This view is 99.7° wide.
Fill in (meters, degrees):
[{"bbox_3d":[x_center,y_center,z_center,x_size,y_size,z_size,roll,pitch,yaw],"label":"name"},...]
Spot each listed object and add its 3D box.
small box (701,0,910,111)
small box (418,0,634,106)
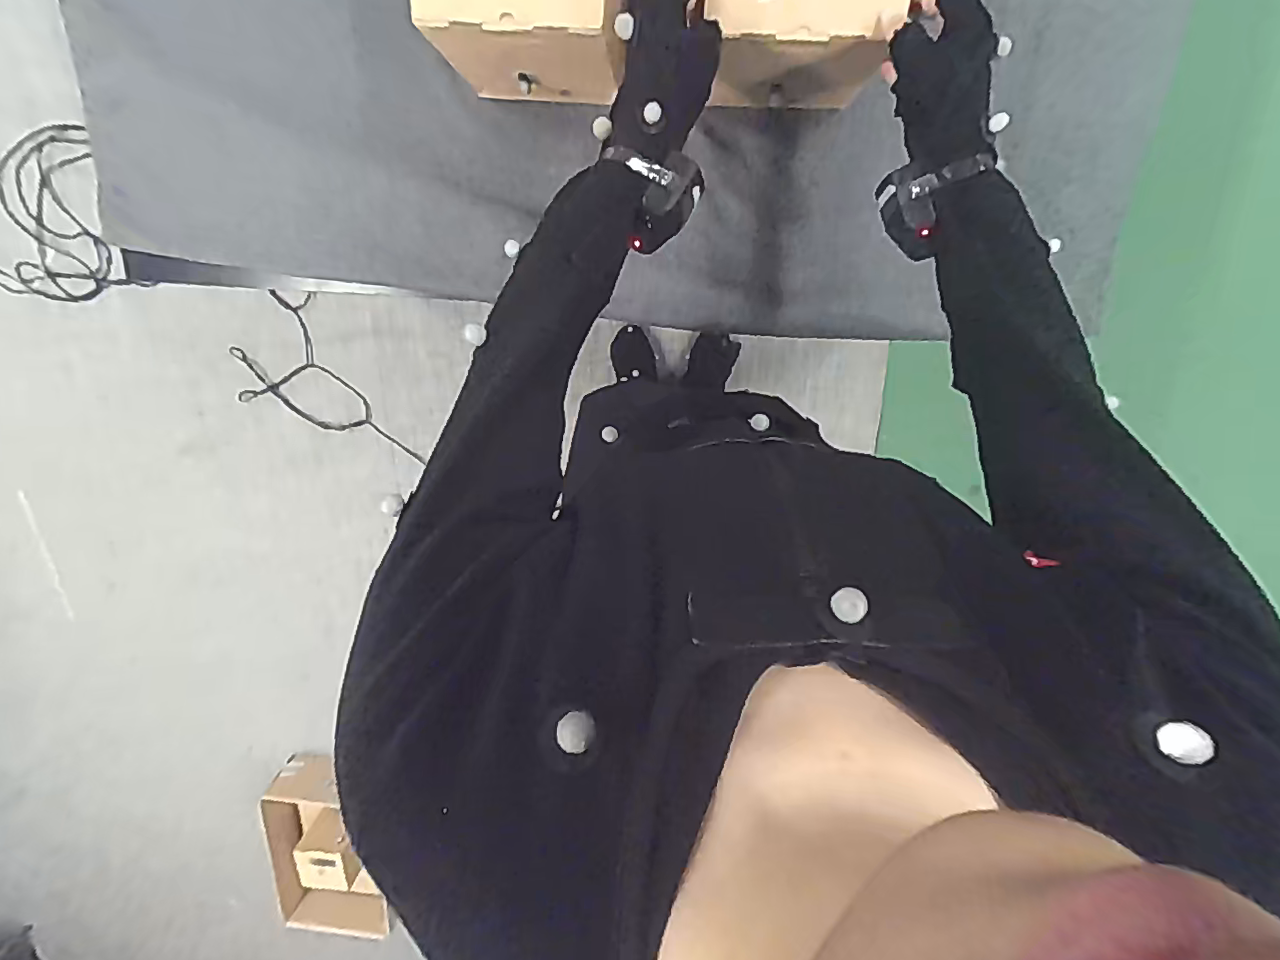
[{"bbox_3d":[0.145,-0.469,0.495,0.168,0.176,0.179,4,109,4],"label":"small box"},{"bbox_3d":[-0.096,-0.487,0.511,0.168,0.176,0.179,5,108,4],"label":"small box"}]
